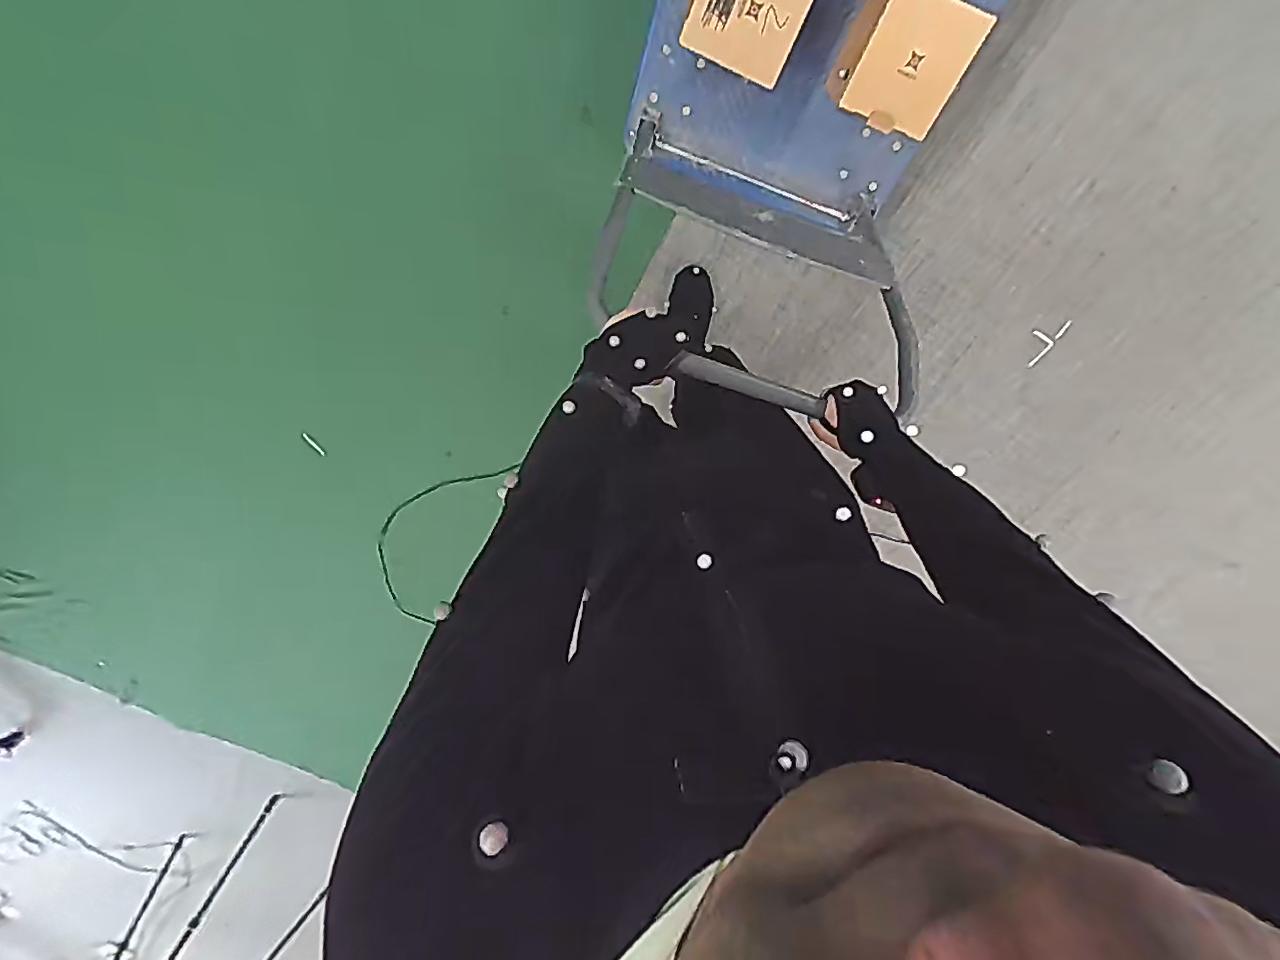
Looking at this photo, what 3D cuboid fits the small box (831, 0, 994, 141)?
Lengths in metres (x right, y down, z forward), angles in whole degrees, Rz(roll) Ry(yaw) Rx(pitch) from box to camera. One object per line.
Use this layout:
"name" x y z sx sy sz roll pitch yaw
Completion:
"small box" 0.446 -0.724 0.923 0.168 0.176 0.179 17 136 -8
